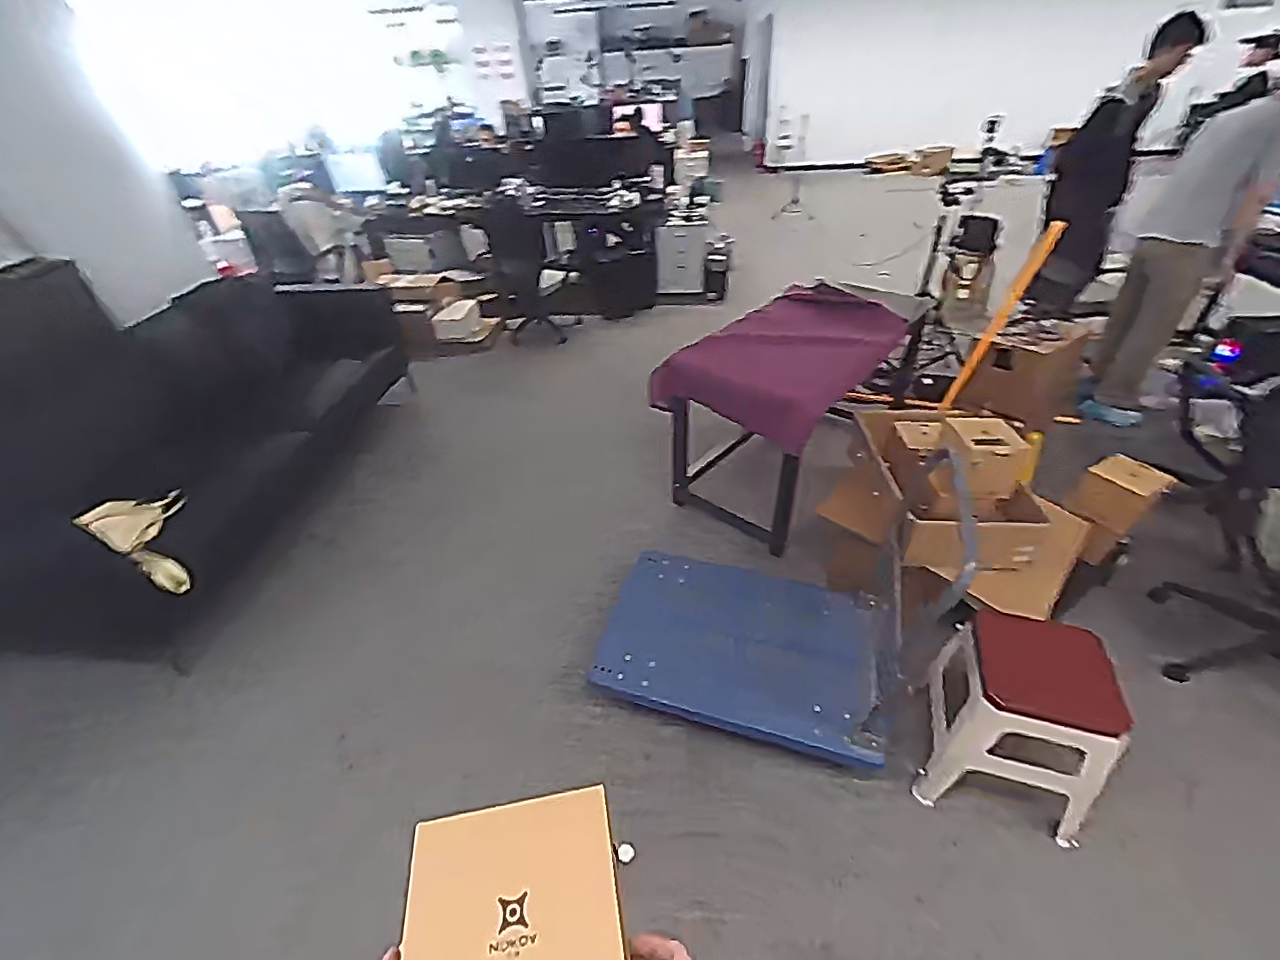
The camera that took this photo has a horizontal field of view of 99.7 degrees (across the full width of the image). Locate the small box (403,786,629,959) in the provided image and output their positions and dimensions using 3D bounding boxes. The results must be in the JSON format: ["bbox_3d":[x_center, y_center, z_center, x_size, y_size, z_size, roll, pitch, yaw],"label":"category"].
[{"bbox_3d":[-0.097,0.404,0.475,0.168,0.176,0.179,-8,43,-6],"label":"small box"}]
